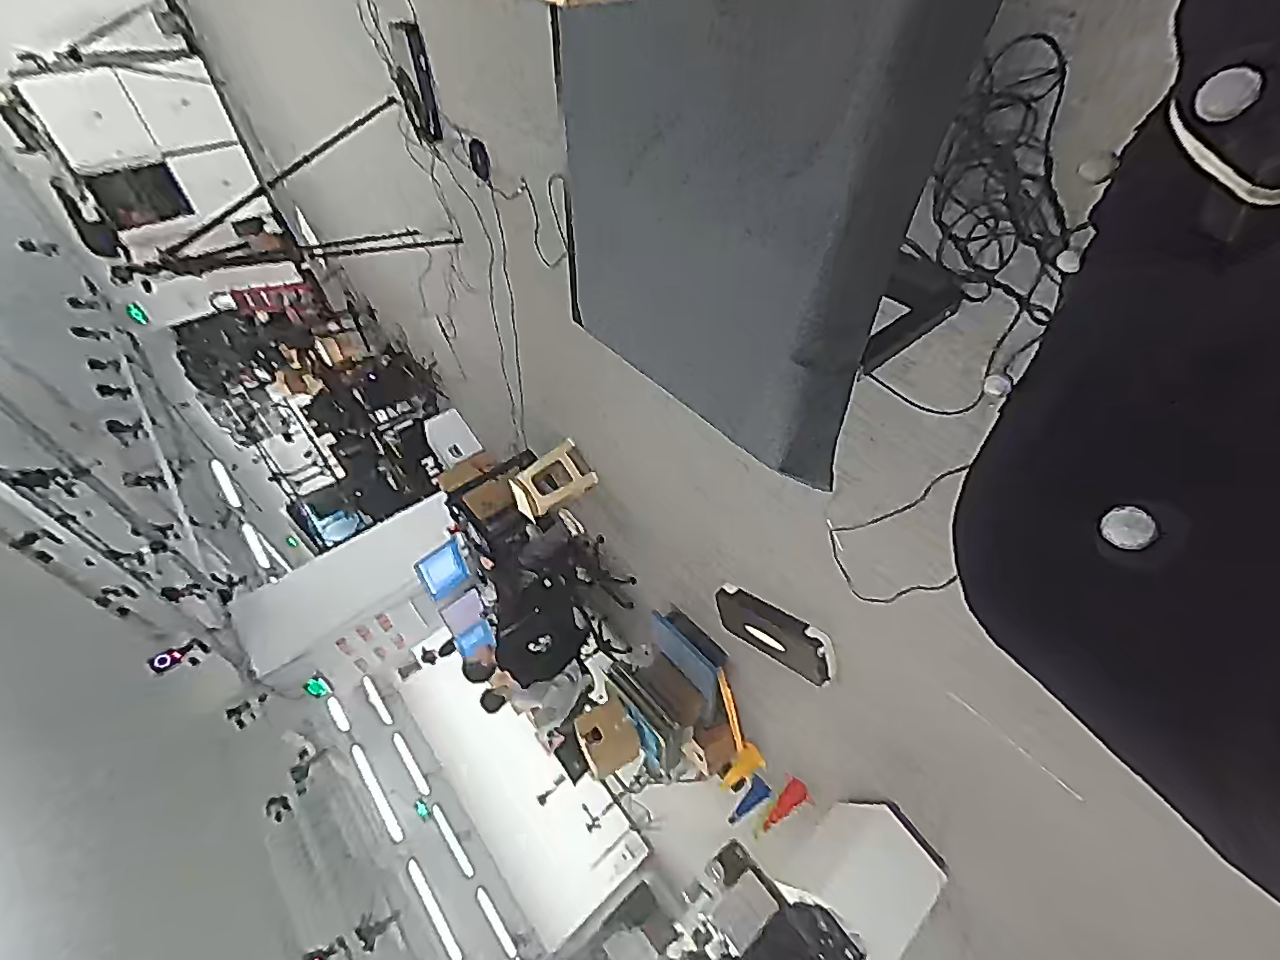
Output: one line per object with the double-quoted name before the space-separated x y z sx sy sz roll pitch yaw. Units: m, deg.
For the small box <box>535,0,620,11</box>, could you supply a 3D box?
"small box" -0.045 -0.500 0.422 0.179 0.176 0.168 43 152 29
